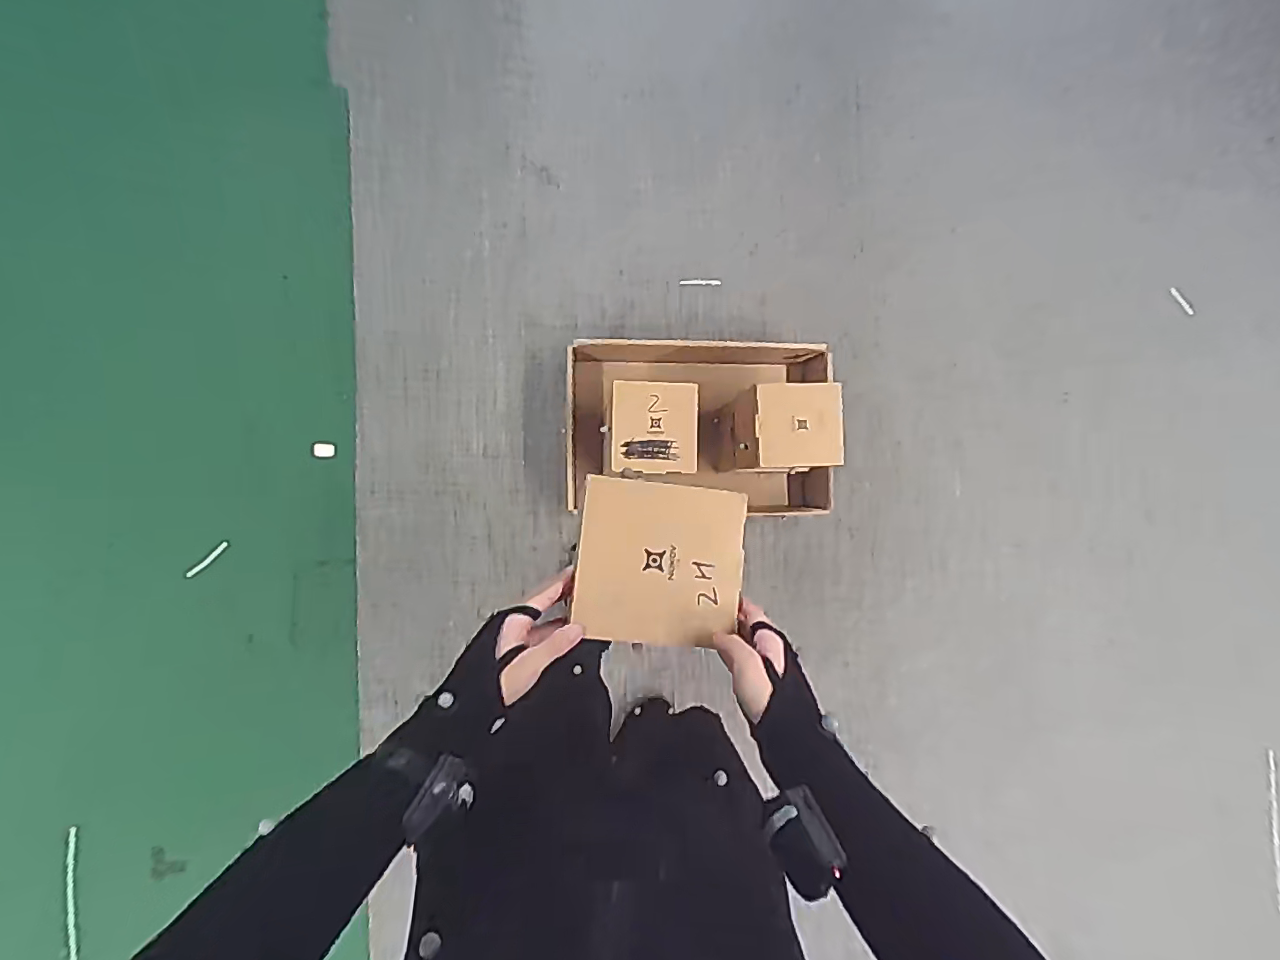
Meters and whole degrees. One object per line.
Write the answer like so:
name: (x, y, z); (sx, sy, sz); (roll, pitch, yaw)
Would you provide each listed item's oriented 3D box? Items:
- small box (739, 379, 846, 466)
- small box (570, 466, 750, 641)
small box: (0.309, -0.114, 1.129); (0.179, 0.176, 0.168); (-2, 91, -5)
small box: (0.013, 0.085, 0.632); (0.179, 0.176, 0.168); (7, 83, -8)
